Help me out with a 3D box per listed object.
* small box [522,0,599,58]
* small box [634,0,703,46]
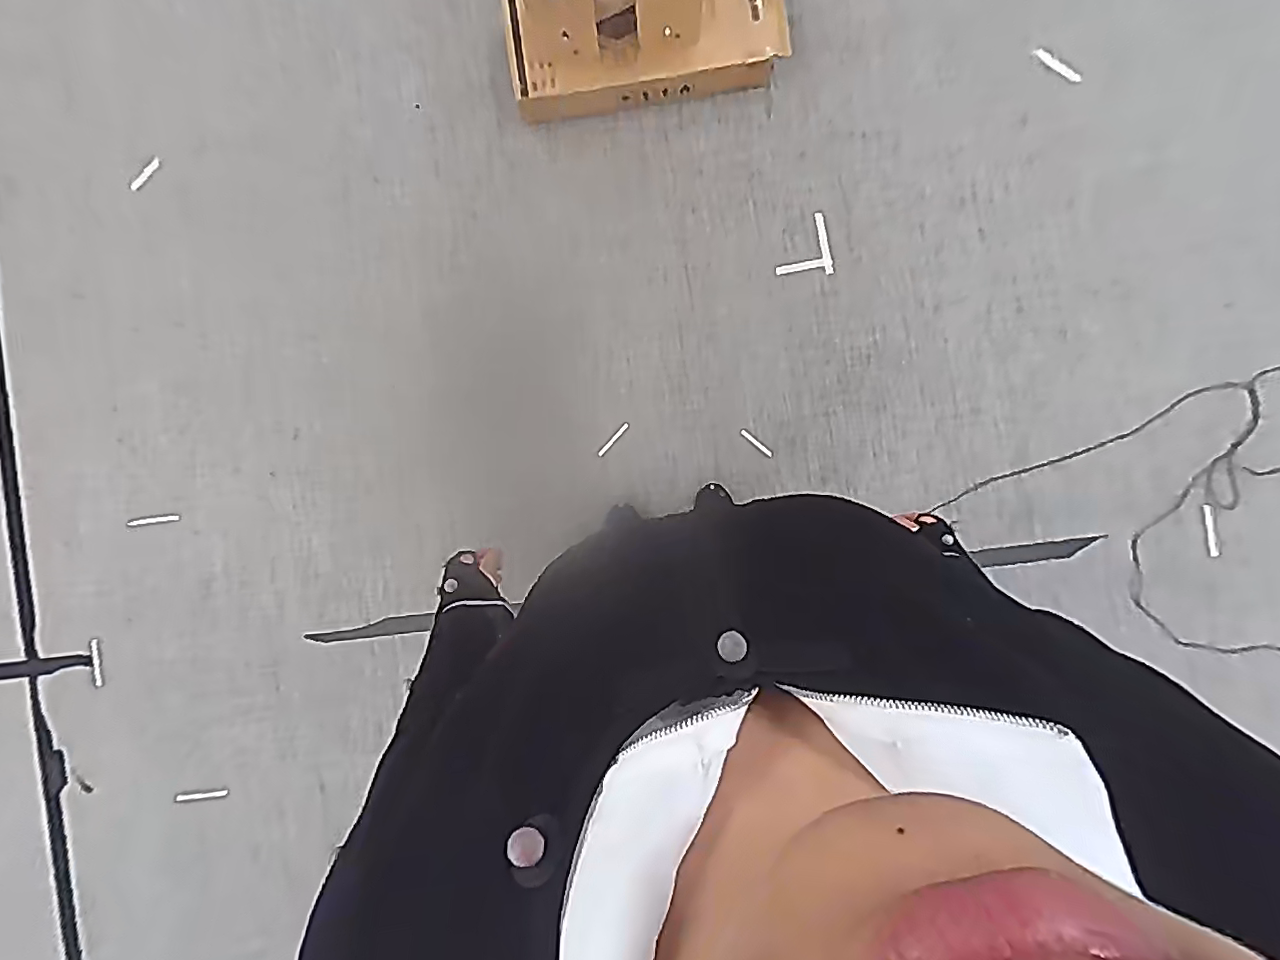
[{"bbox_3d":[-0.199,-1.202,1.355,0.168,0.176,0.179,-7,89,2],"label":"small box"},{"bbox_3d":[0.067,-1.238,1.346,0.168,0.176,0.179,-4,89,3],"label":"small box"}]
